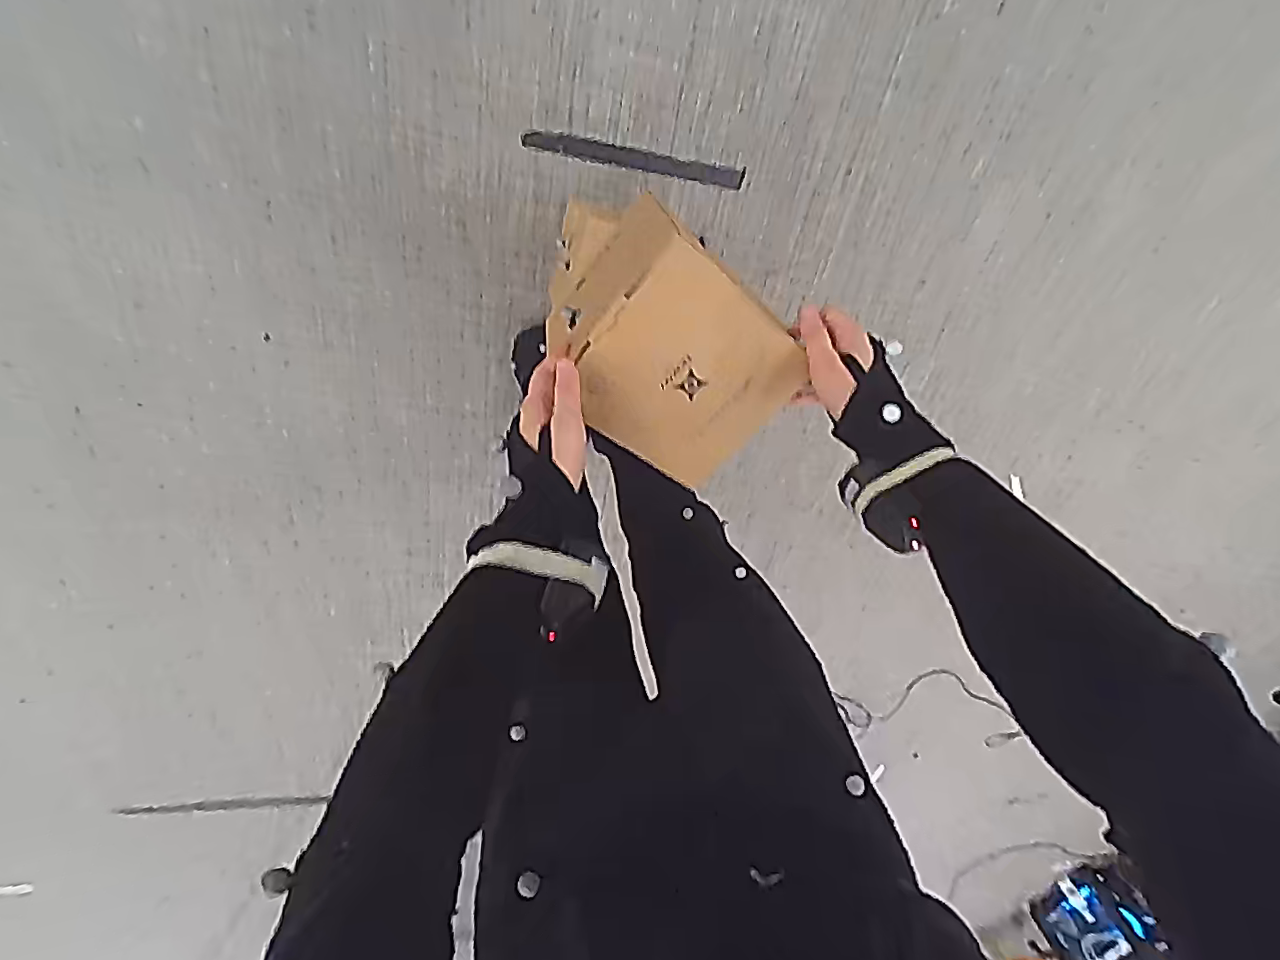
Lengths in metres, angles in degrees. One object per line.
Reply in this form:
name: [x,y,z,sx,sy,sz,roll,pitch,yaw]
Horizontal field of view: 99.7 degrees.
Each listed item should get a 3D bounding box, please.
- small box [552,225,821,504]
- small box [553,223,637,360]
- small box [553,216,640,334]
small box: [0.030,-0.116,0.518,0.179,0.176,0.168,32,117,-30]
small box: [-0.016,-0.241,0.748,0.179,0.176,0.168,13,119,-17]
small box: [-0.041,-0.320,0.890,0.179,0.176,0.168,10,119,-16]
